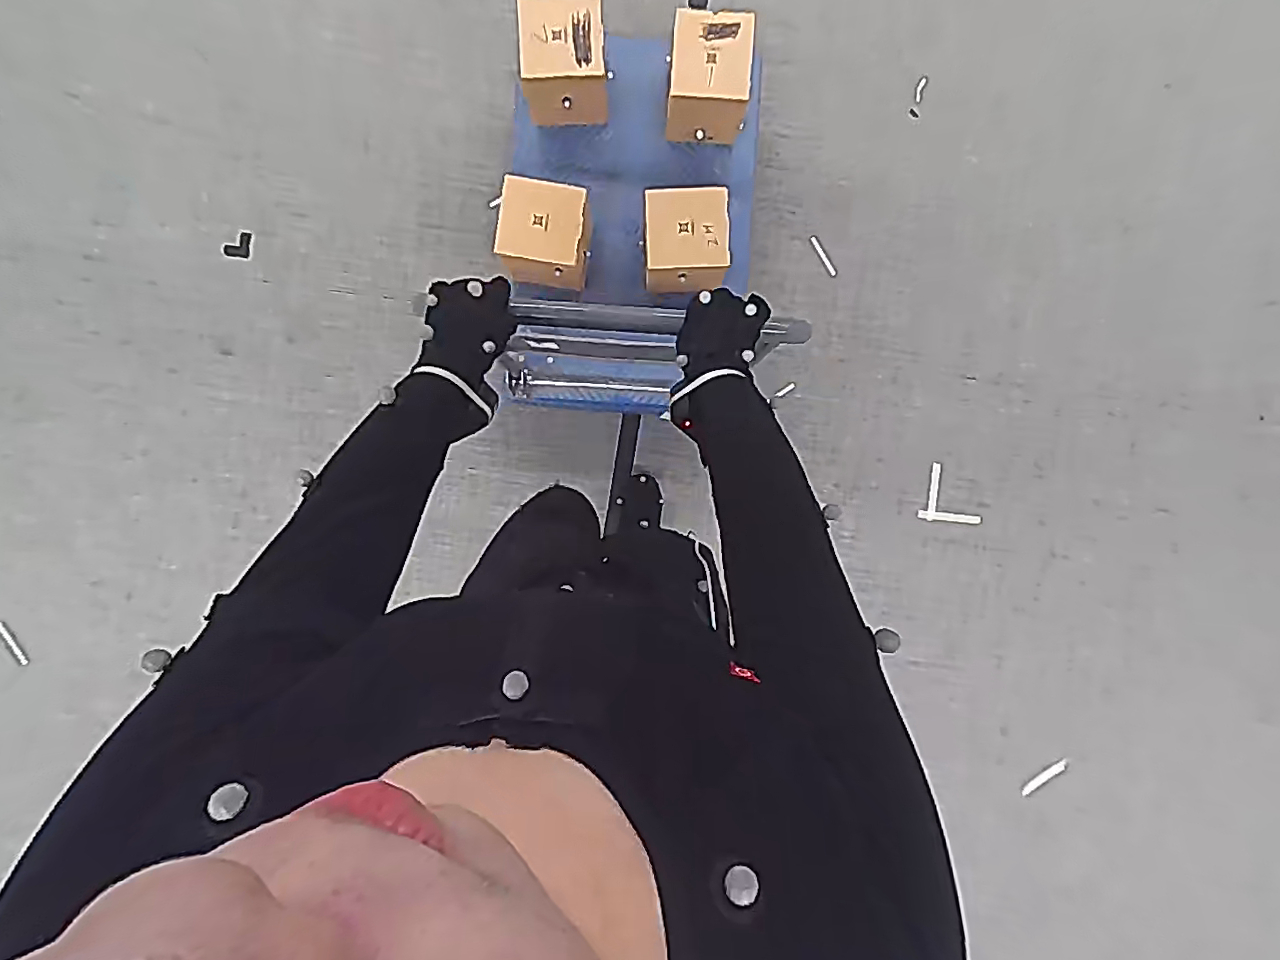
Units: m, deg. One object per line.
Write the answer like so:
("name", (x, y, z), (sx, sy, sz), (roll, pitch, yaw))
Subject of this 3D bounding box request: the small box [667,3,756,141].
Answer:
("small box", (0.150, -0.891, 1.194), (0.168, 0.176, 0.179), (4, 94, 0))

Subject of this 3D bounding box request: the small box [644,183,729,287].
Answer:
("small box", (0.100, -0.540, 1.210), (0.179, 0.176, 0.168), (-2, 93, 0))

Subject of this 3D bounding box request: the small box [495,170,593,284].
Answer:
("small box", (-0.207, -0.556, 1.210), (0.179, 0.176, 0.168), (9, 92, -2))
